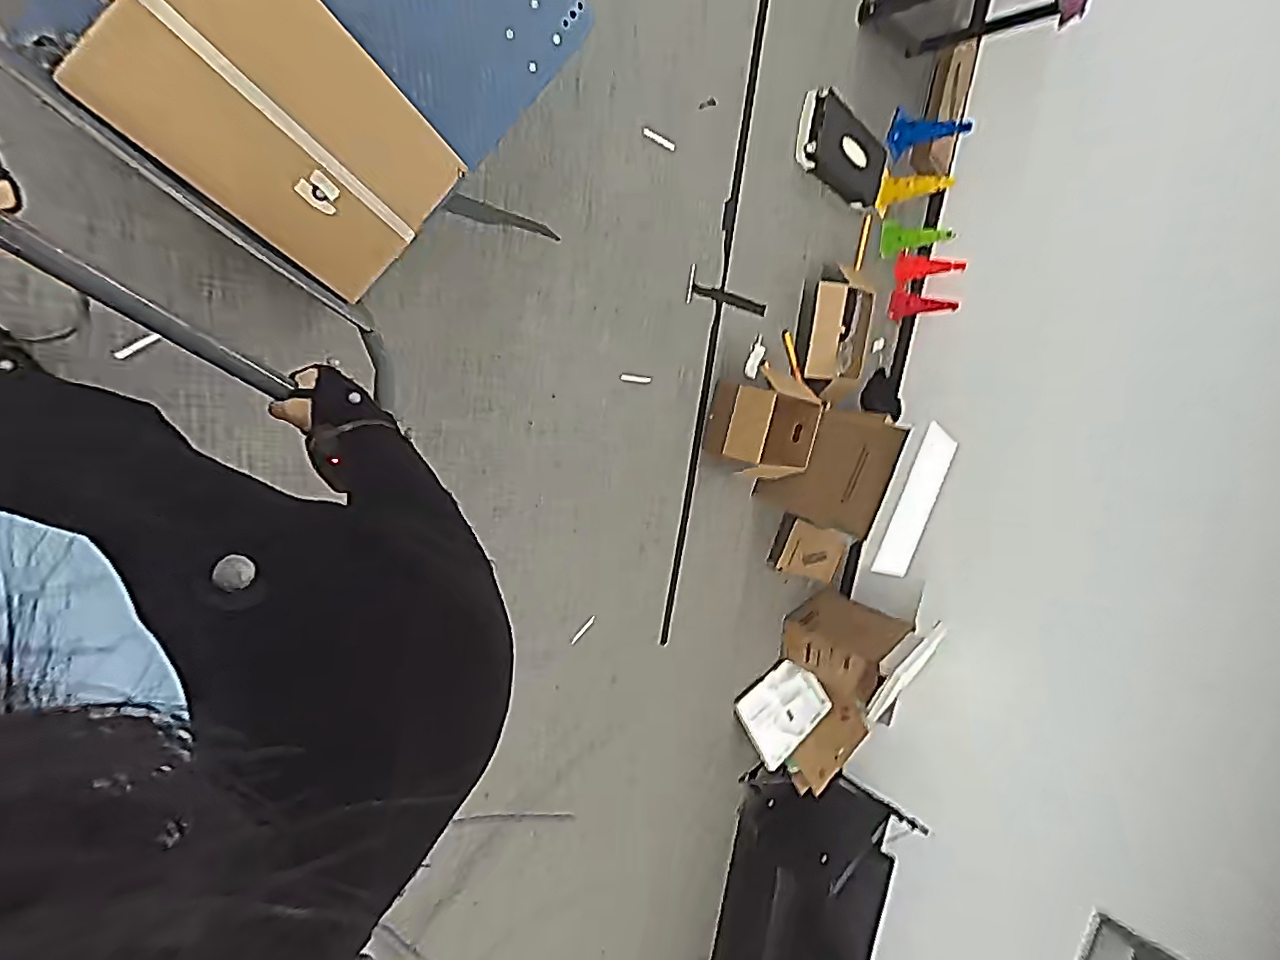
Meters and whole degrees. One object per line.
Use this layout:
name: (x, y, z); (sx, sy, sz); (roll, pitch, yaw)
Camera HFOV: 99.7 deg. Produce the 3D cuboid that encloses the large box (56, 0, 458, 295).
large box: (-0.602, -0.592, 0.905); (0.320, 0.320, 0.408); (-49, 136, 0)
